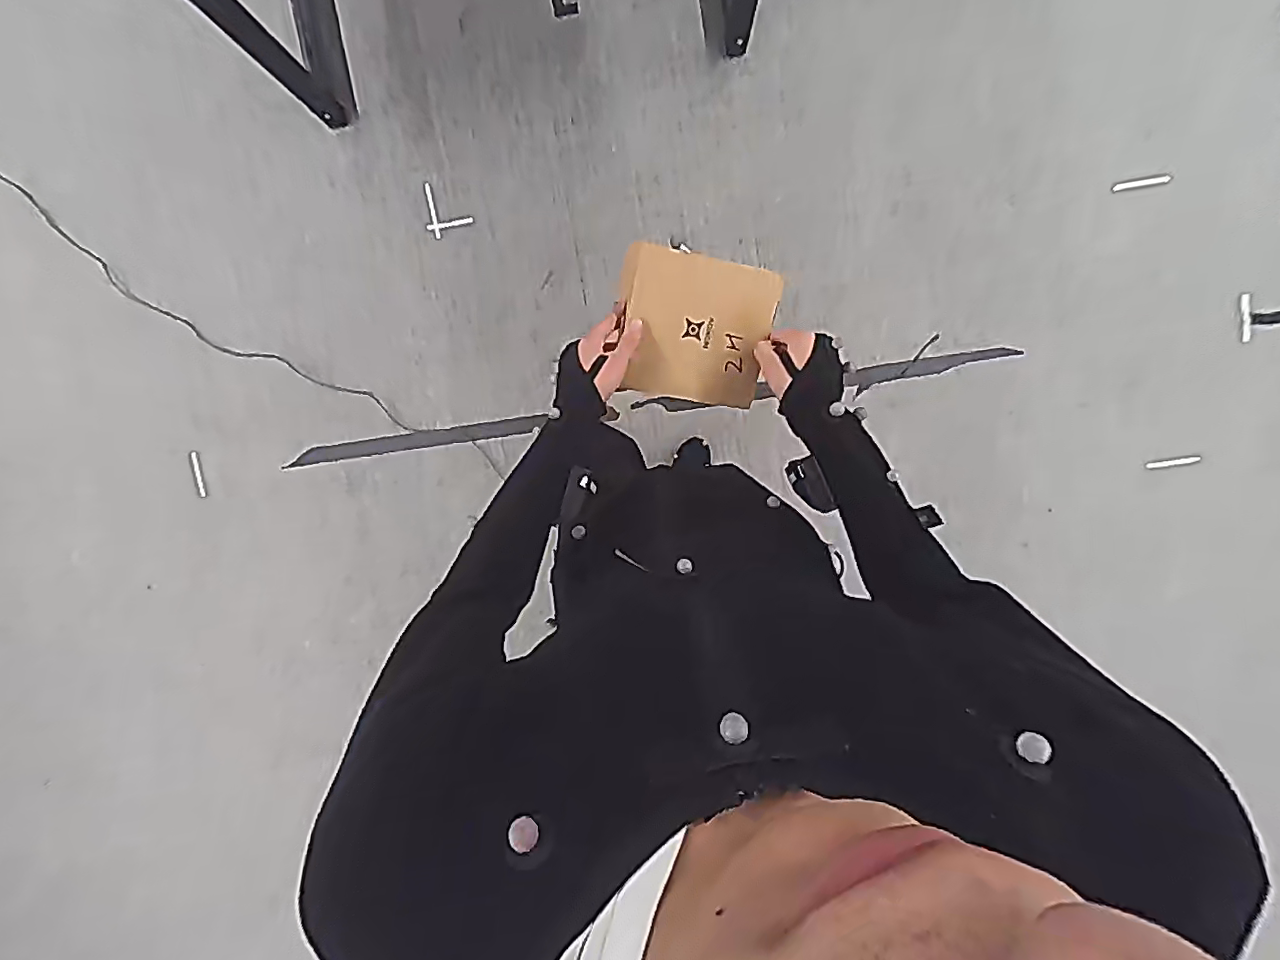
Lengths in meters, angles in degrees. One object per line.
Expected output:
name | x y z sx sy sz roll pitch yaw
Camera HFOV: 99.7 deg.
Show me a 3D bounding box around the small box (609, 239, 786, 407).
small box | 0.059 -0.205 0.706 0.179 0.176 0.168 8 110 -11
